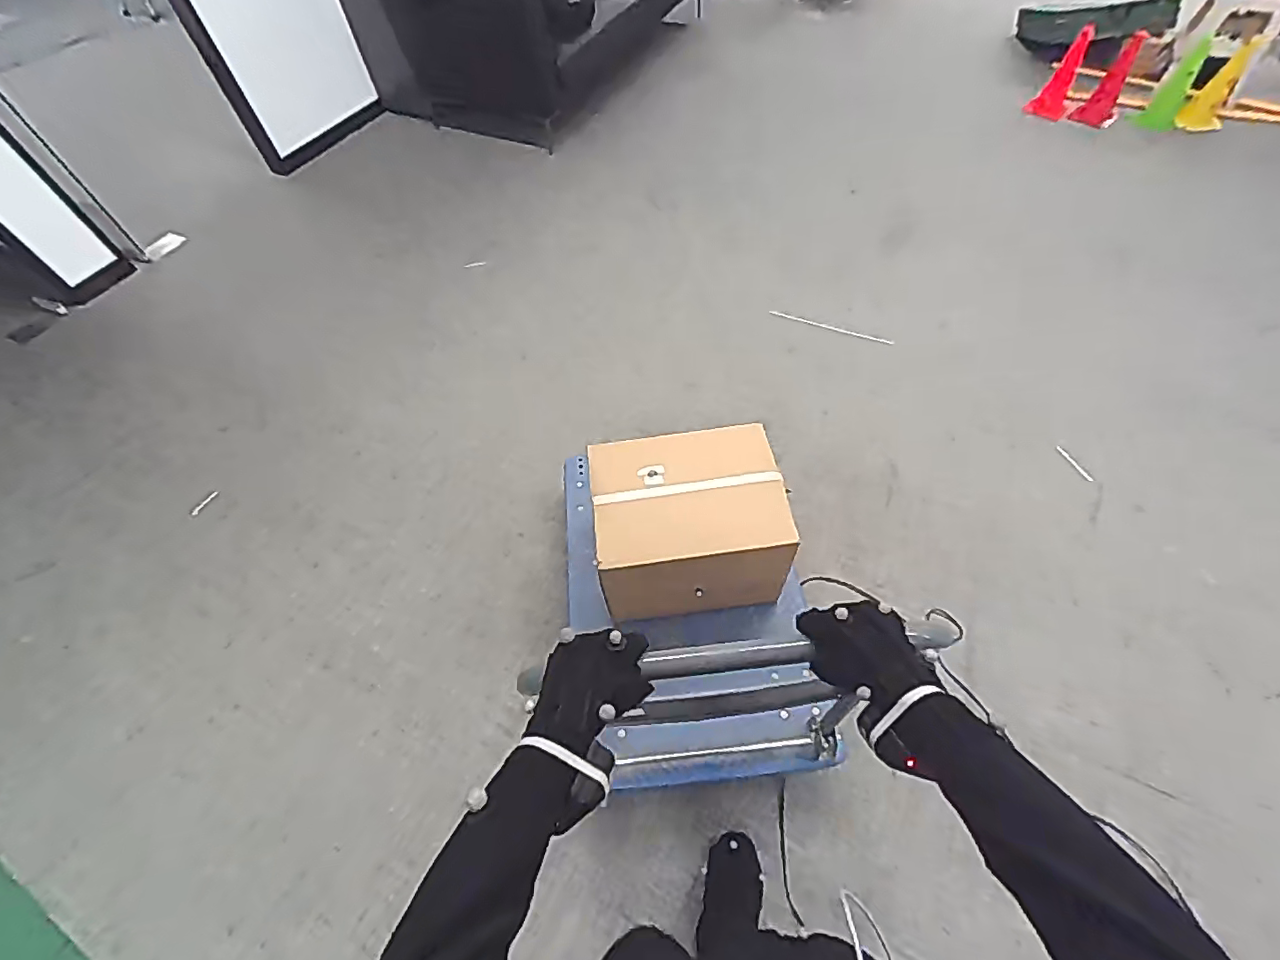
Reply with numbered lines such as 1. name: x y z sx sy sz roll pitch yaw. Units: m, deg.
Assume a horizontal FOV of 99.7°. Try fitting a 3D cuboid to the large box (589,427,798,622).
1. large box: 0.113 0.114 1.275 0.408 0.320 0.320 -9 56 0
